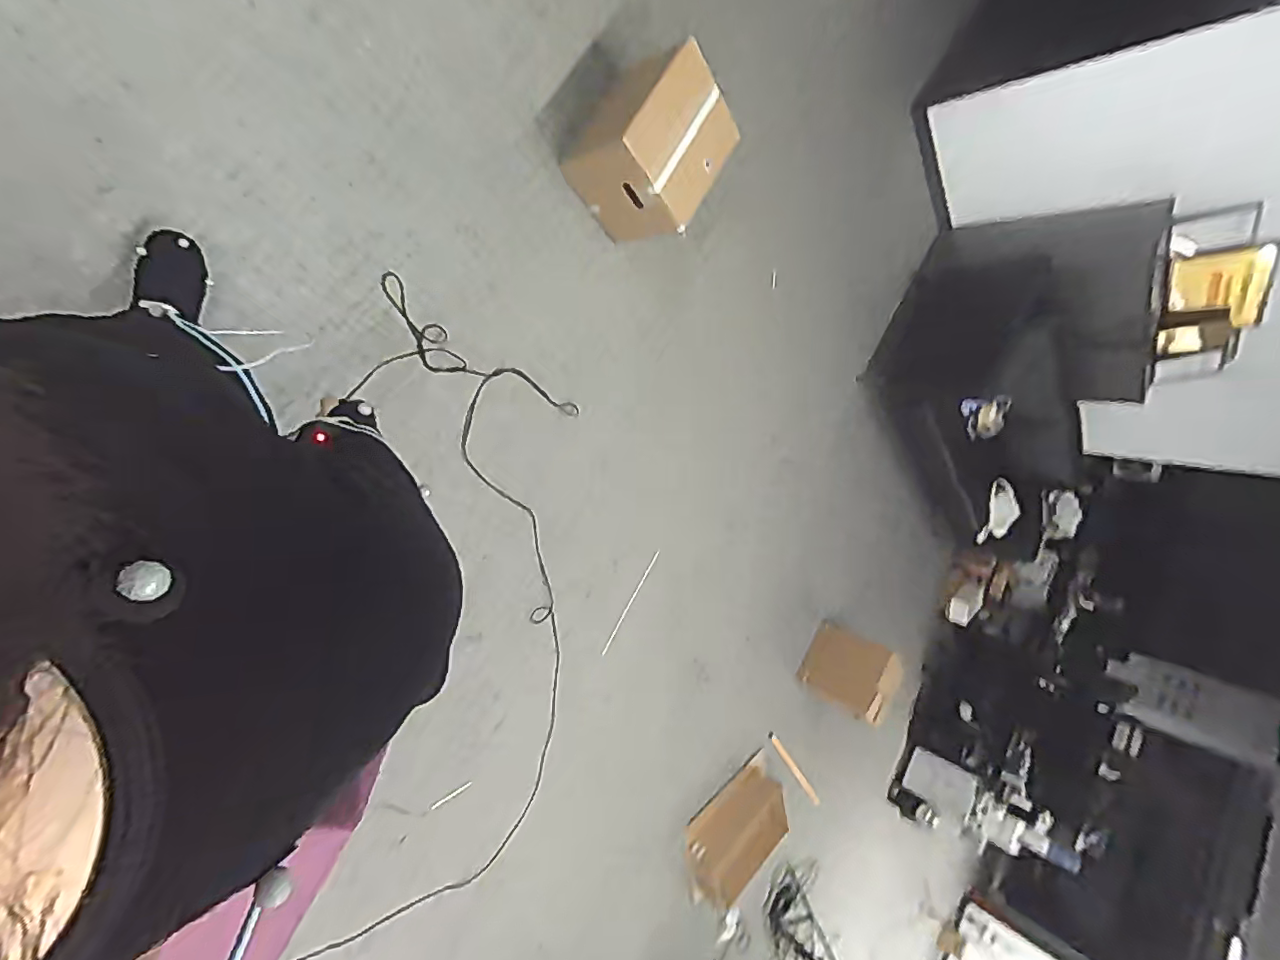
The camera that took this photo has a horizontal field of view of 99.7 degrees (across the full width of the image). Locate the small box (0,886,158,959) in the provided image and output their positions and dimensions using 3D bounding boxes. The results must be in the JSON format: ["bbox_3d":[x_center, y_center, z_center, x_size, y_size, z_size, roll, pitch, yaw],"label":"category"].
[{"bbox_3d":[-0.646,0.575,0.565,0.168,0.176,0.179,42,72,-42],"label":"small box"}]
